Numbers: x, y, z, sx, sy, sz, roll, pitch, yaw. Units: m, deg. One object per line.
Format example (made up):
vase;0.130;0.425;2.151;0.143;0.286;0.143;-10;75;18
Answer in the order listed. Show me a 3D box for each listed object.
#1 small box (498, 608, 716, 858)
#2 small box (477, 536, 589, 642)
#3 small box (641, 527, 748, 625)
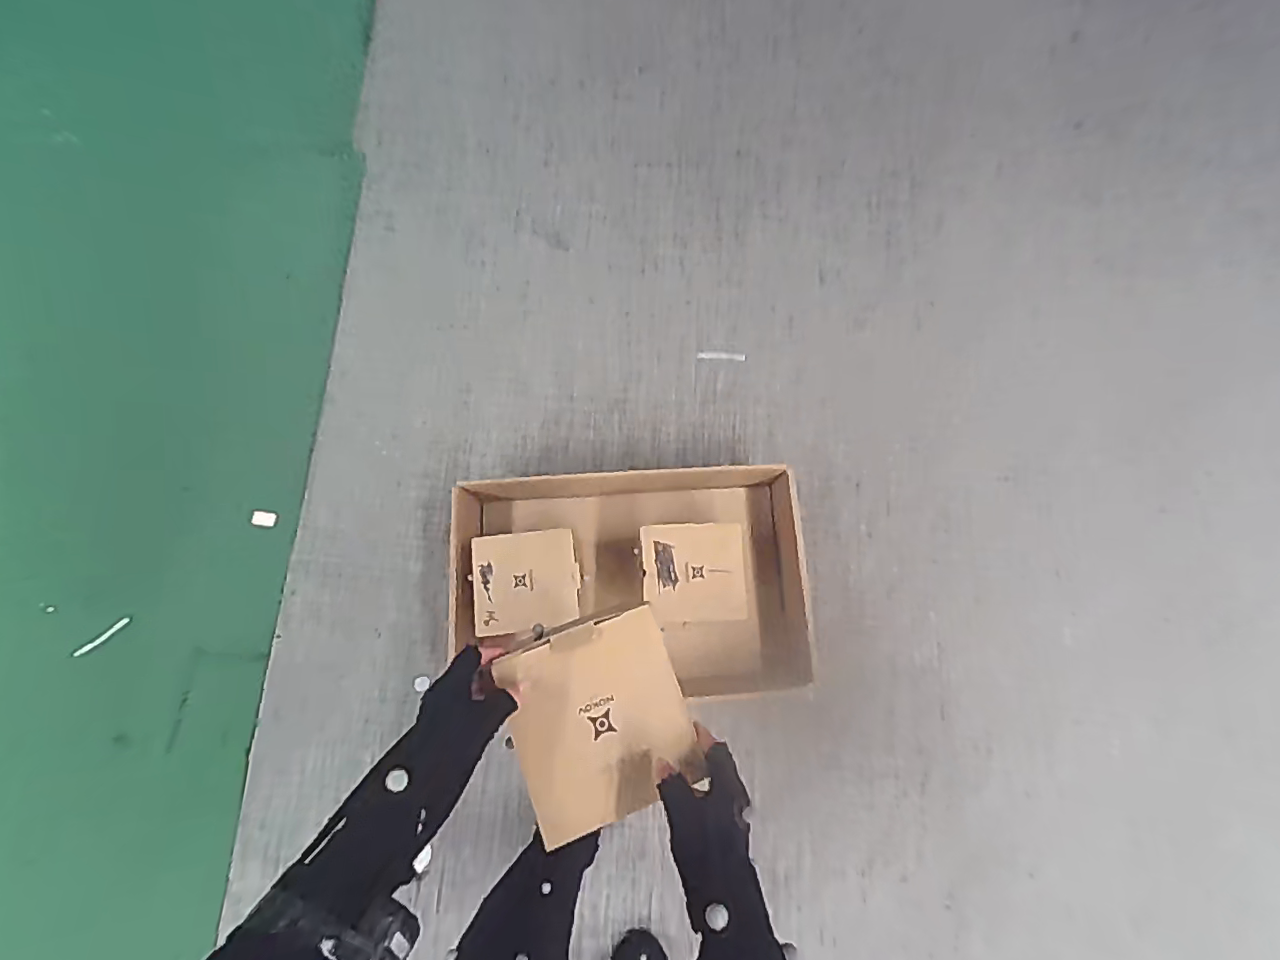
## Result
small box;-0.041;0.249;0.586;0.168;0.176;0.179;-20;82;-9
small box;-0.187;0.198;0.986;0.179;0.176;0.168;-6;76;-3
small box;0.094;0.180;0.990;0.179;0.176;0.168;-2;77;0
